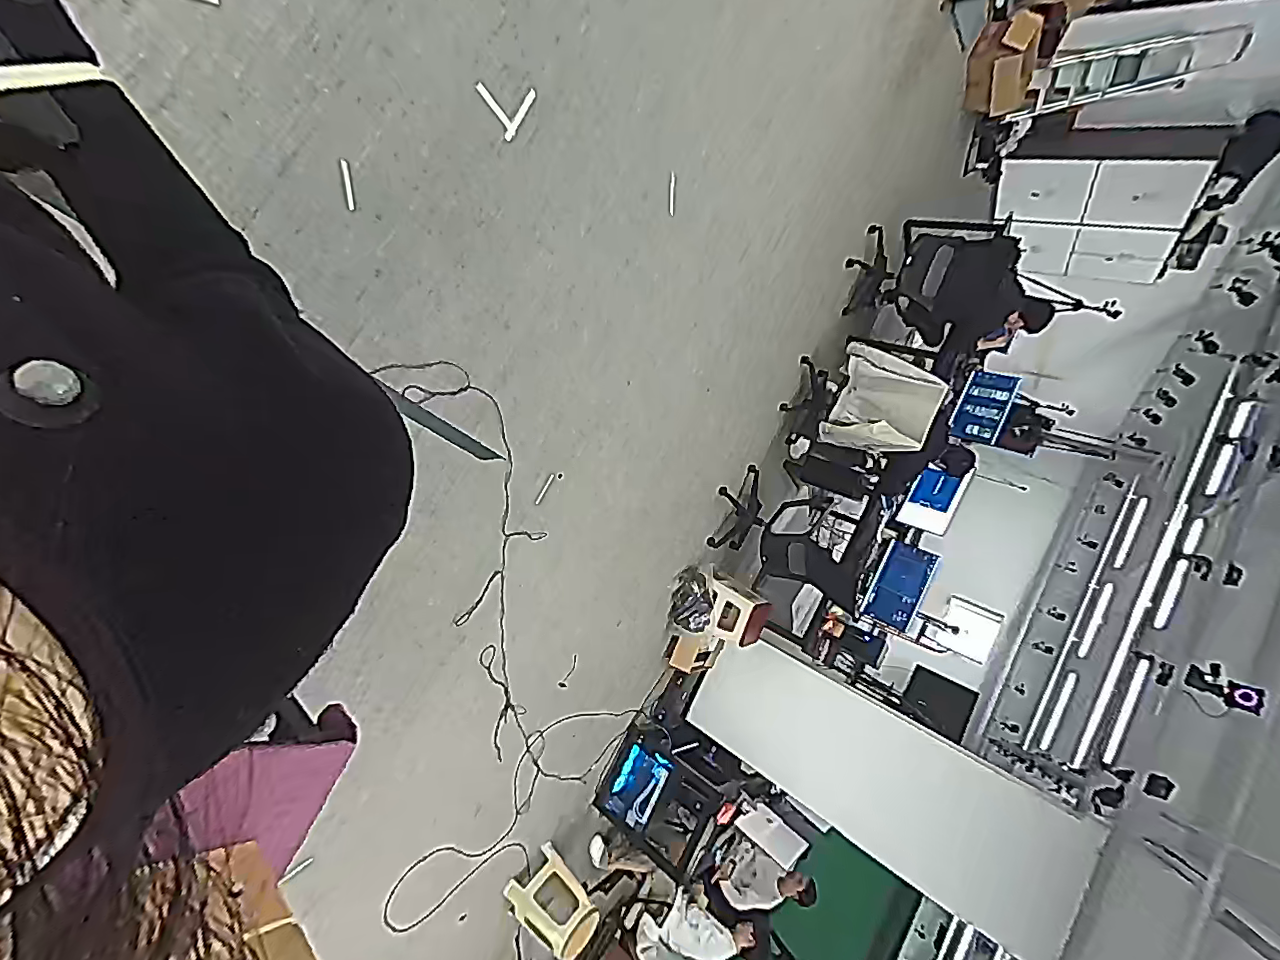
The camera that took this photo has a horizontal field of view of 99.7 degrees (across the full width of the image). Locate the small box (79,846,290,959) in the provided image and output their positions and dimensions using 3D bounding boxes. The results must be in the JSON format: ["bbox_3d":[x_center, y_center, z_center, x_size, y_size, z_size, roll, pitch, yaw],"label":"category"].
[{"bbox_3d":[-0.659,0.670,0.780,0.168,0.176,0.179,32,84,-56],"label":"small box"}]

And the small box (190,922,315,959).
[{"bbox_3d":[-0.535,0.733,0.693,0.179,0.176,0.168,29,87,-56],"label":"small box"}]
